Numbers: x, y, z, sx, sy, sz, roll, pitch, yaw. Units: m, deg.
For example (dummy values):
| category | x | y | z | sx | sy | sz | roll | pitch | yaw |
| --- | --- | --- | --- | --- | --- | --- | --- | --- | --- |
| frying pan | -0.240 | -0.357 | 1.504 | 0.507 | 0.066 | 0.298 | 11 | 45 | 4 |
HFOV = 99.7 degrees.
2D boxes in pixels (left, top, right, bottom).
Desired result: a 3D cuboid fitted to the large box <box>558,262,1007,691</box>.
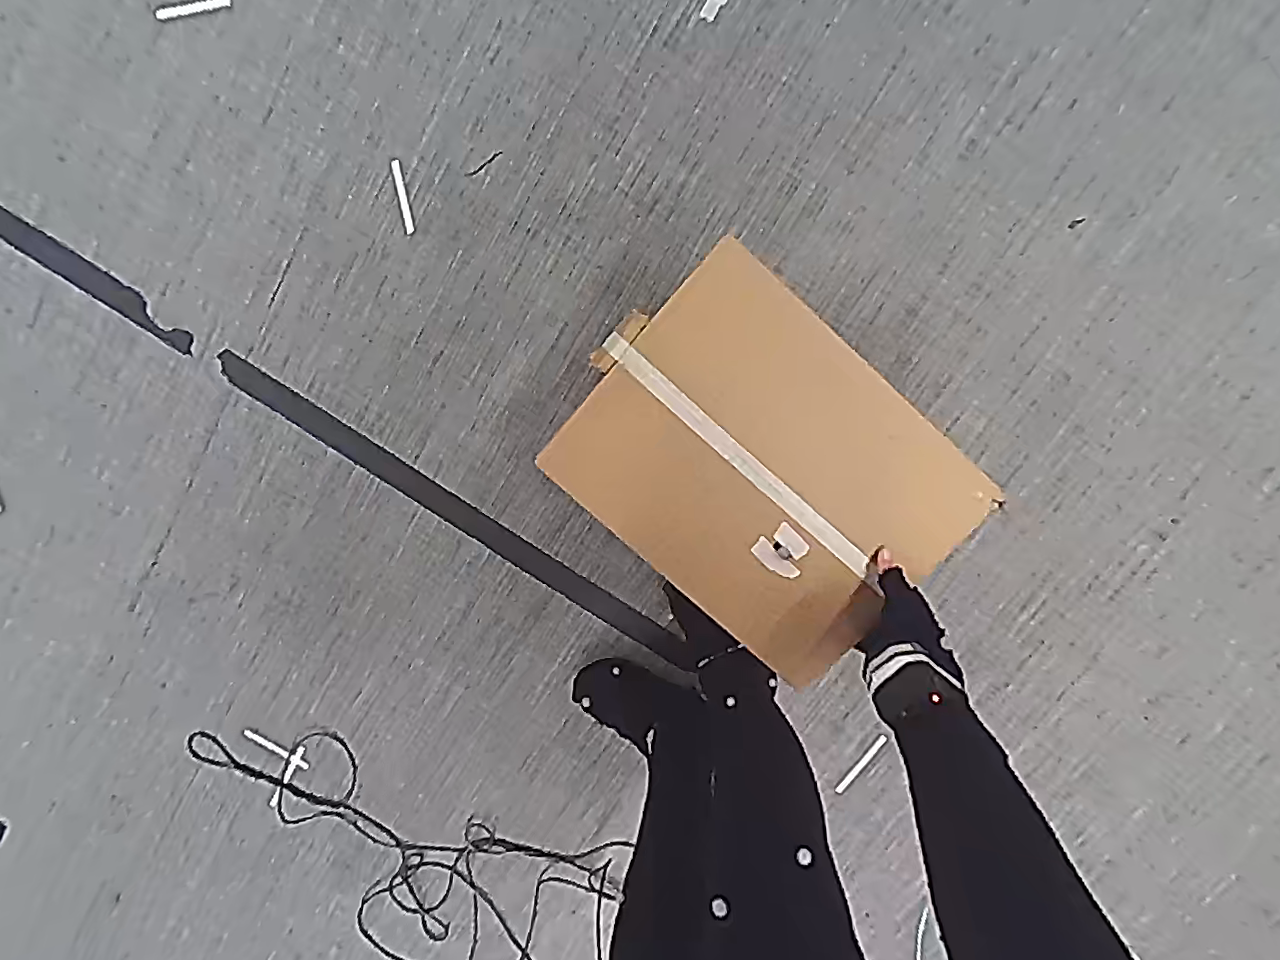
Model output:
| category | x | y | z | sx | sy | sz | roll | pitch | yaw |
| --- | --- | --- | --- | --- | --- | --- | --- | --- | --- |
| large box | 0.157 | -0.016 | 0.738 | 0.408 | 0.320 | 0.320 | 41 | 100 | -6 |
